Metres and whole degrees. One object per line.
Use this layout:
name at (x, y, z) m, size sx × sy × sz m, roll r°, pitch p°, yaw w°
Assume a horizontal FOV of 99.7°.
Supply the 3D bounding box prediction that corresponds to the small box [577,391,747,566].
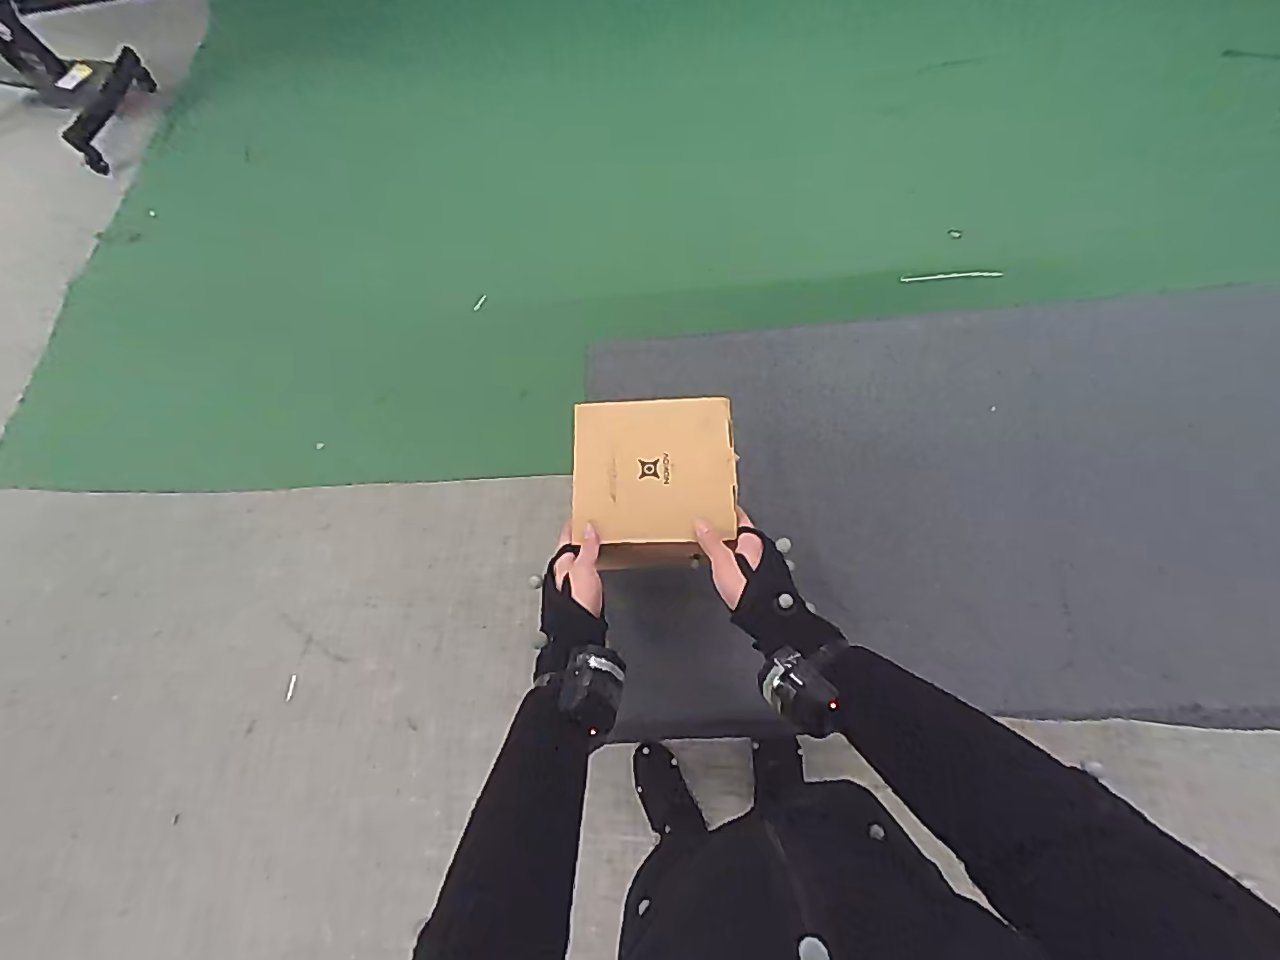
small box at (0.026, 0.006, 0.650) m, size 0.179 × 0.176 × 0.168 m, roll -2°, pitch 70°, yaw 4°
